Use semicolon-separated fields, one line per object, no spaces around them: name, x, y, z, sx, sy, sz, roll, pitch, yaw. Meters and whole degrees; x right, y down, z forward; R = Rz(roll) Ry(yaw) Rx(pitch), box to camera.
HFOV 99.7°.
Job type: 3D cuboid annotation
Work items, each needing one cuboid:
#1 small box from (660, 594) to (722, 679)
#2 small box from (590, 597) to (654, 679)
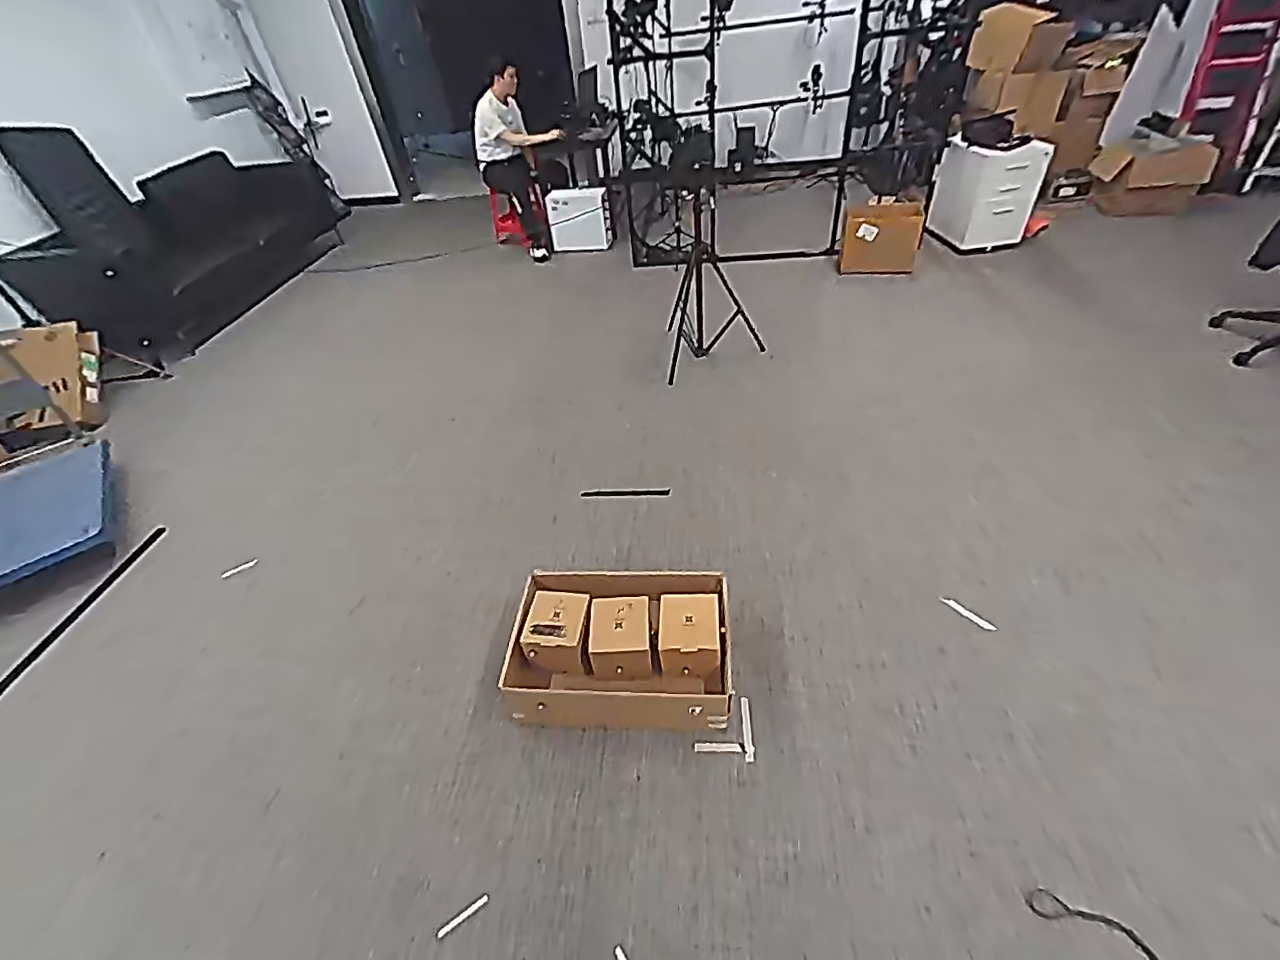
small box;0.148;0.449;1.551;0.168;0.176;0.179;-3;43;8
small box;-0.048;0.462;1.565;0.168;0.176;0.179;-3;42;3
